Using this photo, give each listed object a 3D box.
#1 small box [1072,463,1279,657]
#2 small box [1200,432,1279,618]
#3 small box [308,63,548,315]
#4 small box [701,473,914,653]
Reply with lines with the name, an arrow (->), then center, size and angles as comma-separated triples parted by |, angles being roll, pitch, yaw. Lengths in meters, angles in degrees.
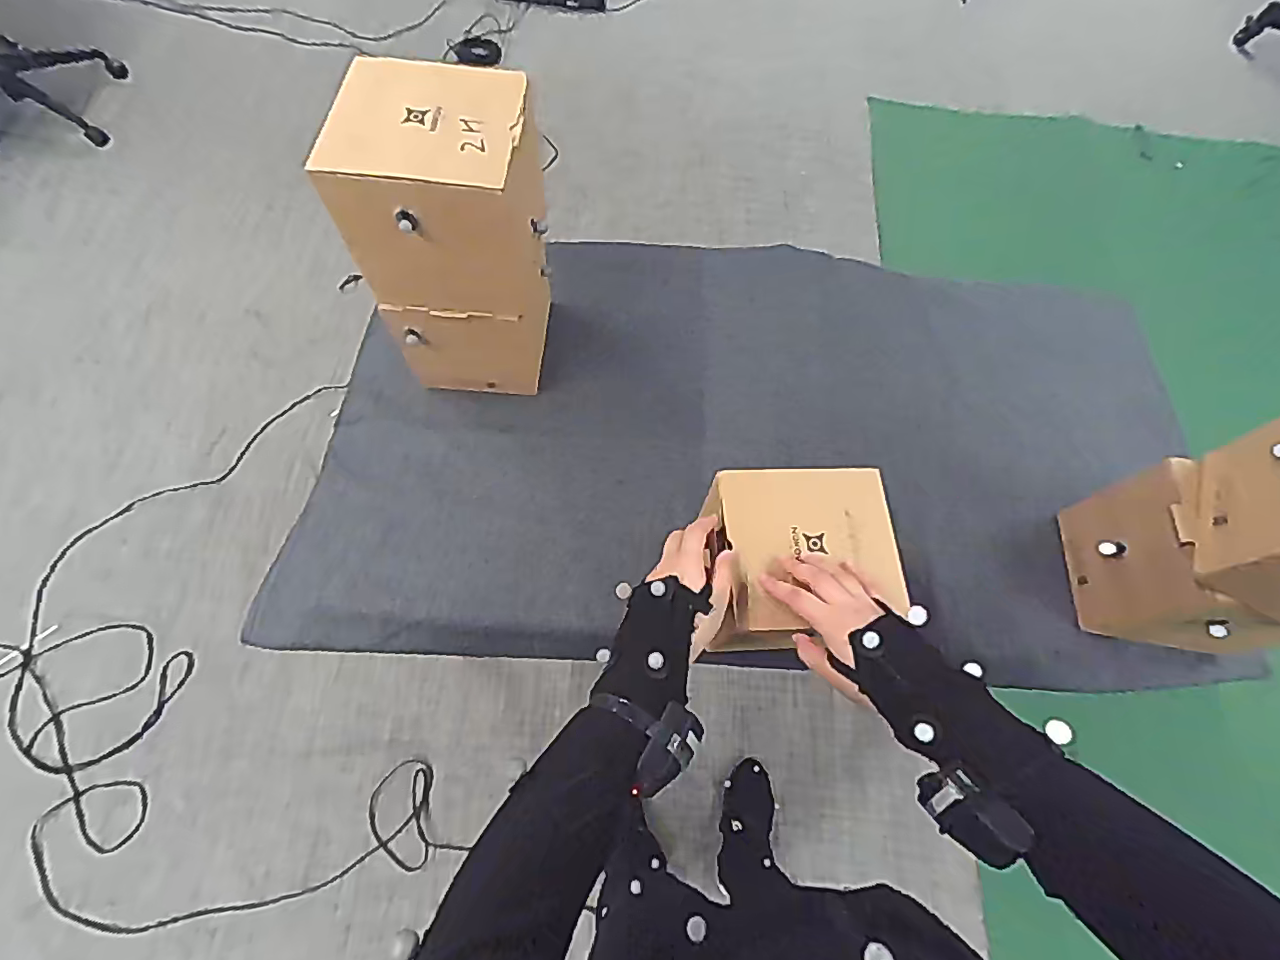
small box -> 0.652, 0.101, 0.631 | 0.179, 0.176, 0.168 | 10, 64, 2
small box -> 0.663, 0.045, 0.477 | 0.179, 0.176, 0.168 | 29, 65, 10
small box -> -0.202, -0.297, 0.575 | 0.179, 0.176, 0.168 | 5, 67, -2
small box -> 0.166, 0.100, 0.607 | 0.179, 0.176, 0.168 | -1, 68, -4
